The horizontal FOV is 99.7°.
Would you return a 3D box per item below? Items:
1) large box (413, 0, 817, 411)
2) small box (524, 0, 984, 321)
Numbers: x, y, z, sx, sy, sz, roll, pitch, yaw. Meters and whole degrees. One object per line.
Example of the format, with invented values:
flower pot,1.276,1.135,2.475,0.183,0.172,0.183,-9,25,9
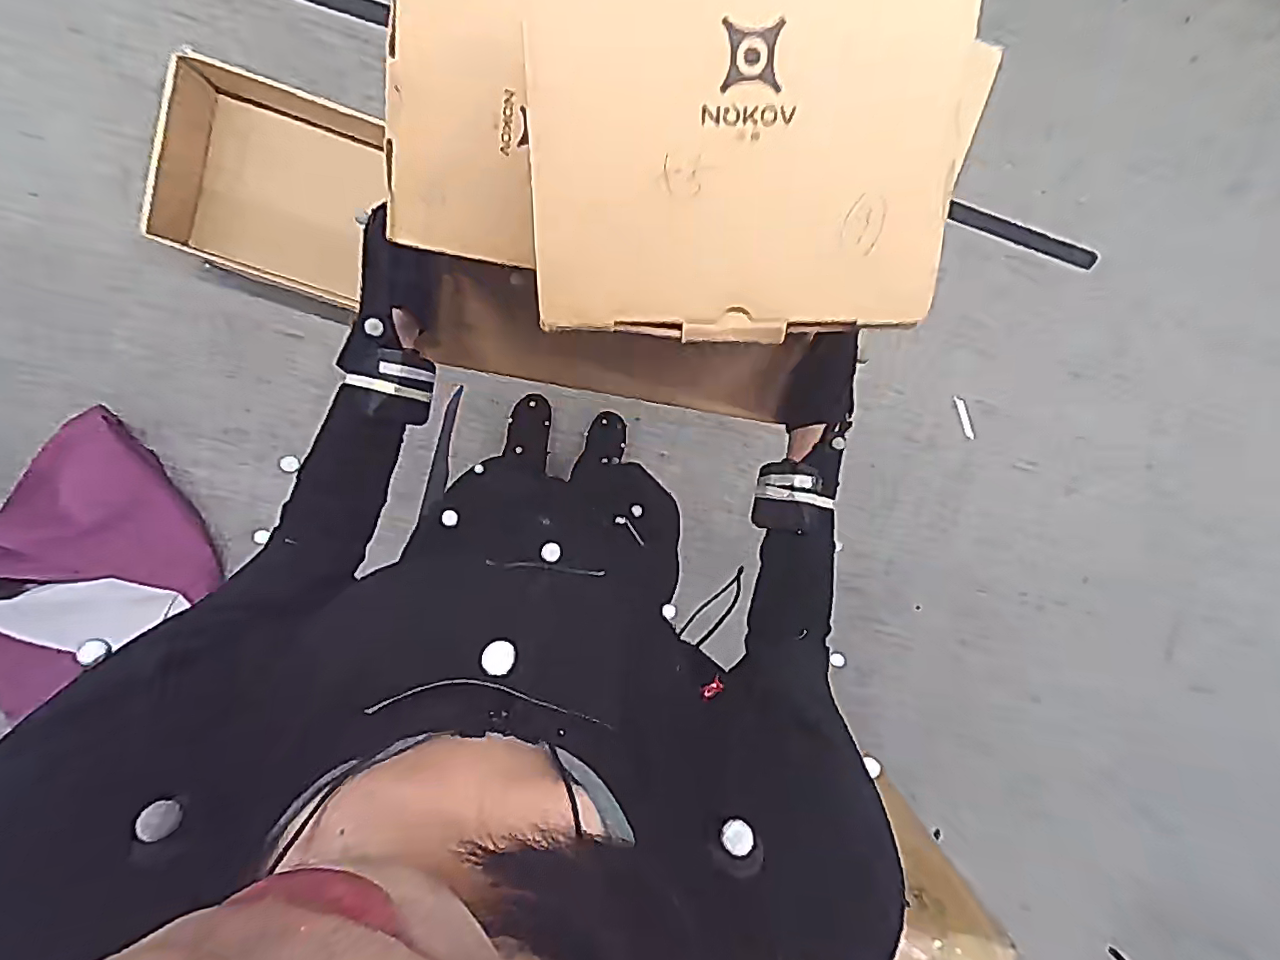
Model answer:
large box,-0.015,-0.285,0.656,0.408,0.320,0.320,10,105,-7
small box,0.038,-0.178,0.274,0.168,0.176,0.179,-1,110,-2
